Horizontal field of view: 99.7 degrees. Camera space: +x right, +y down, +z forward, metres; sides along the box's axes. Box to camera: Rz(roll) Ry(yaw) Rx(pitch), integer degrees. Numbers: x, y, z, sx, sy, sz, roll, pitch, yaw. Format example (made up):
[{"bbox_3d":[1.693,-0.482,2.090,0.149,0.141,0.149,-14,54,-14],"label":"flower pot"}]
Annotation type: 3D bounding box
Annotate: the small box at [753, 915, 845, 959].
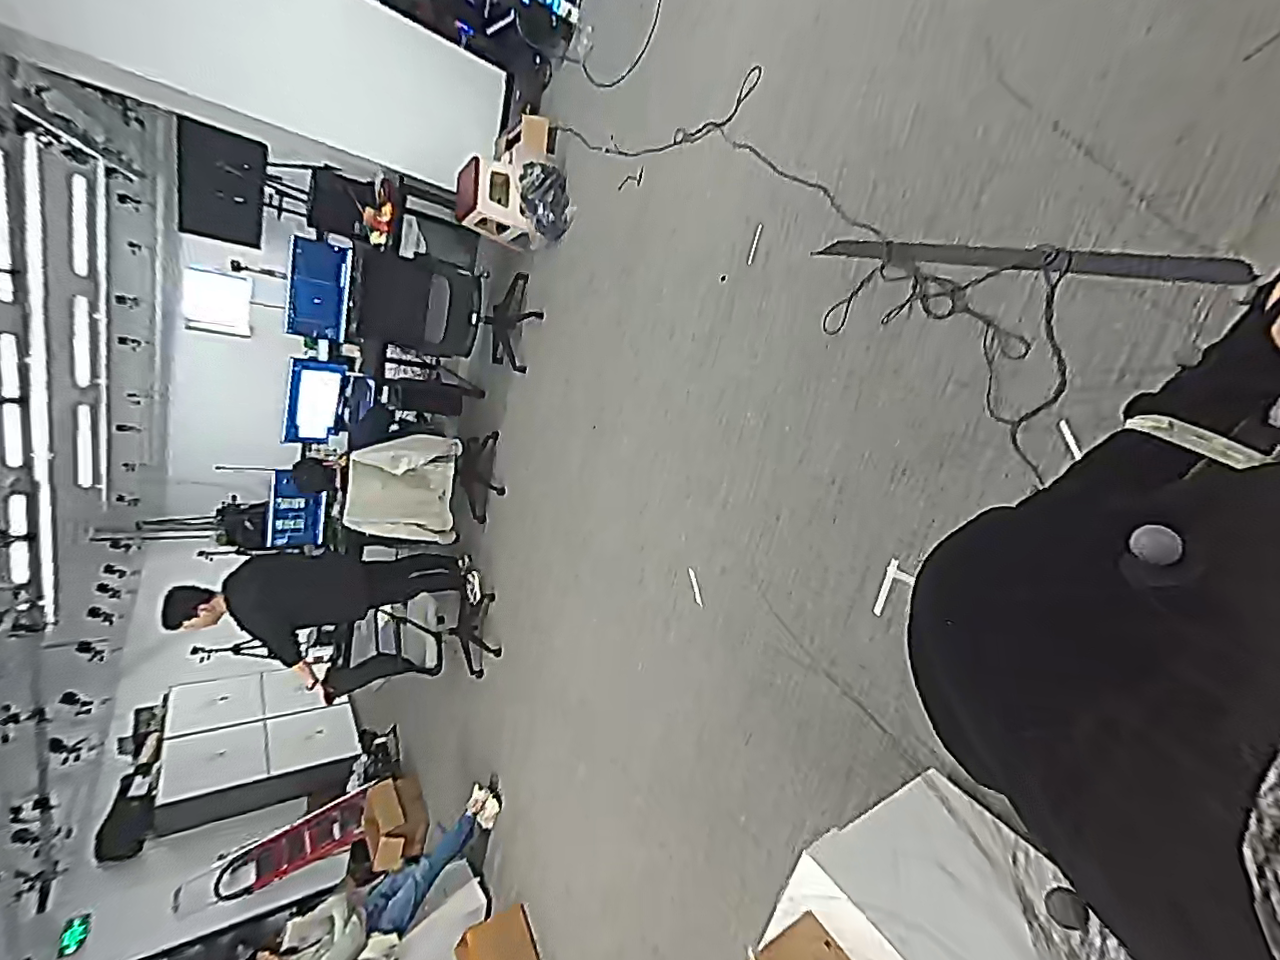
[{"bbox_3d":[0.290,0.945,0.971,0.168,0.176,0.179,35,115,47],"label":"small box"}]
